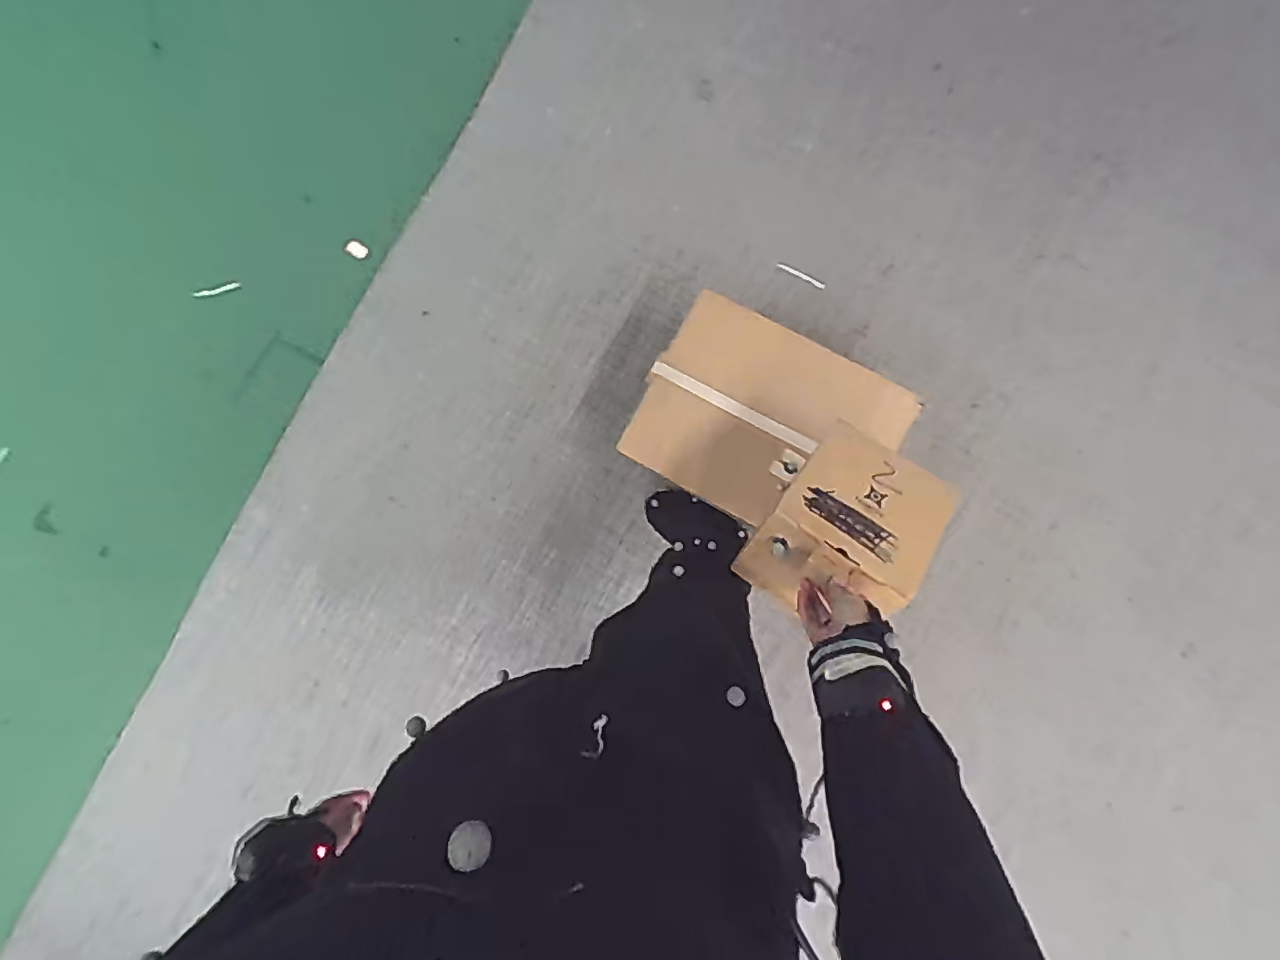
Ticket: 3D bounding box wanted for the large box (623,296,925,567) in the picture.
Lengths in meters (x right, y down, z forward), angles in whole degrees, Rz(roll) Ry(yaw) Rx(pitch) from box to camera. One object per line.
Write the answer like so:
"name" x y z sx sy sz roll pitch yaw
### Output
"large box" 0.224 -0.078 1.029 0.408 0.320 0.320 29 91 5
